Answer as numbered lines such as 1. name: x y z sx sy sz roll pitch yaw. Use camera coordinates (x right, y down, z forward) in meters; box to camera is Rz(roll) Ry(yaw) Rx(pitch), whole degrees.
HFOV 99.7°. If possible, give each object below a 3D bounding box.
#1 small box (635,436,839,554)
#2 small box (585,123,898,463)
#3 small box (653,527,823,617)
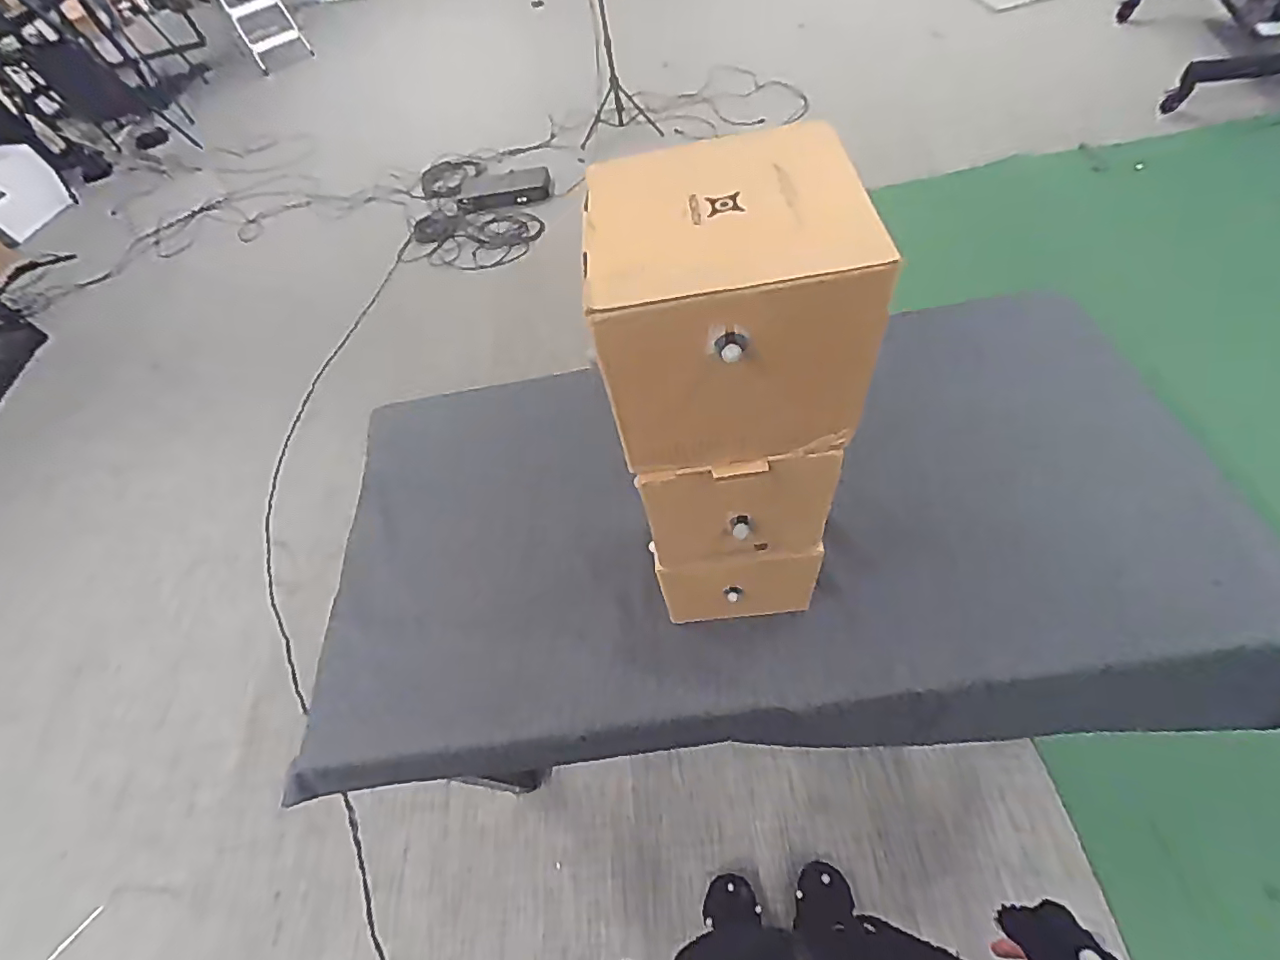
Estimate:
1. small box: 0.085 -0.037 0.541 0.168 0.176 0.179 -8 56 5
2. small box: 0.063 -0.128 0.407 0.179 0.176 0.168 -7 57 5
3. small box: 0.111 0.059 0.670 0.179 0.176 0.168 -8 56 6
